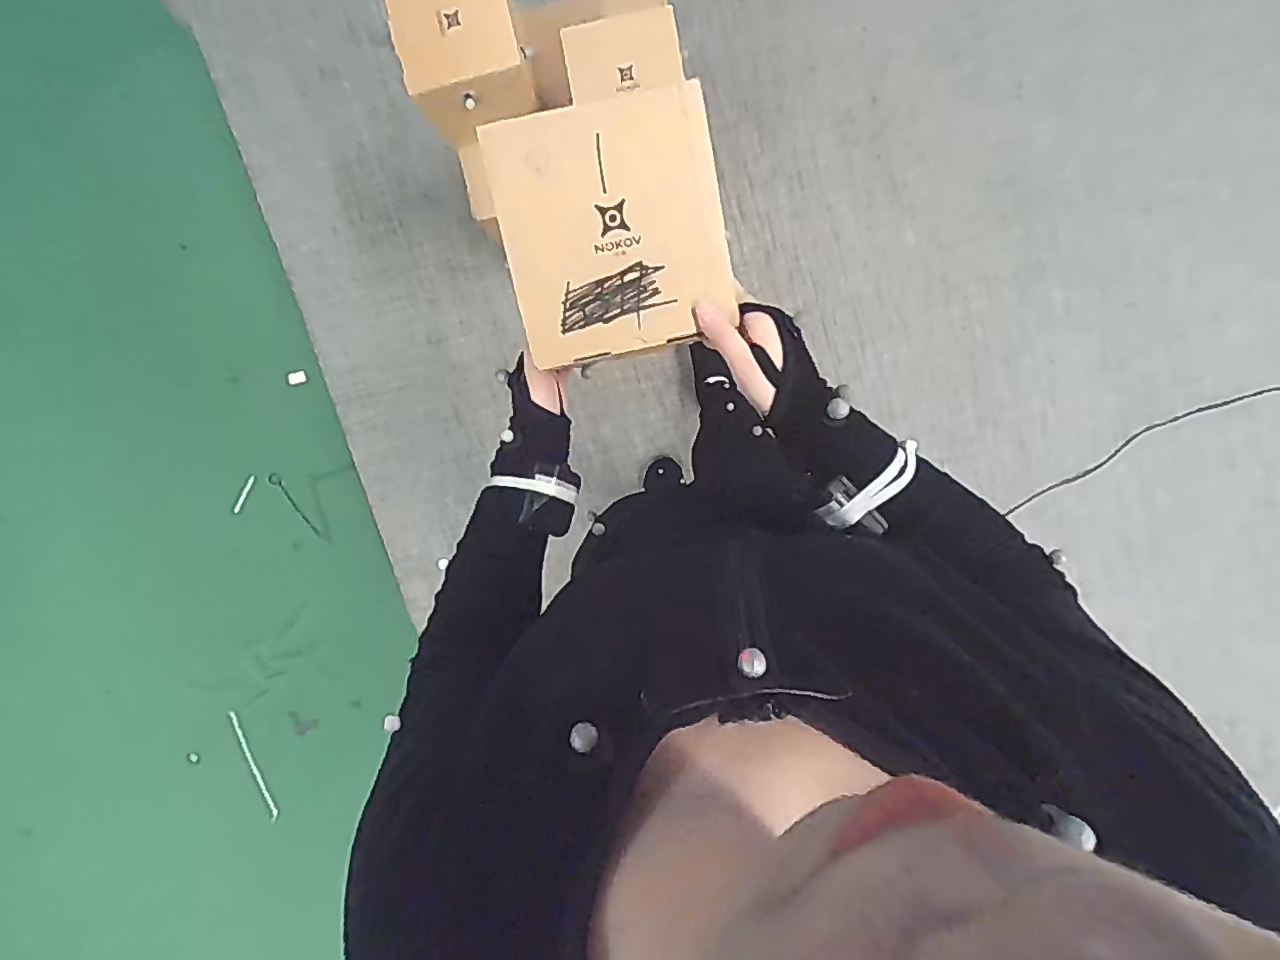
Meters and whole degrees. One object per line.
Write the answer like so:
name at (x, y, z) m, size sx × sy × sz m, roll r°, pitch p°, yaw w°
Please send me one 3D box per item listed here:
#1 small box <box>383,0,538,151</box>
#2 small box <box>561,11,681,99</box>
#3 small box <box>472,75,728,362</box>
small box at (-0.270, -0.662, 0.858) m, size 0.179 × 0.176 × 0.168 m, roll -12°, pitch 96°, yaw 4°
small box at (-0.020, -0.579, 0.860) m, size 0.168 × 0.176 × 0.179 m, roll -10°, pitch 97°, yaw 3°
small box at (-0.028, -0.207, 0.482) m, size 0.168 × 0.176 × 0.179 m, roll -12°, pitch 101°, yaw 0°
